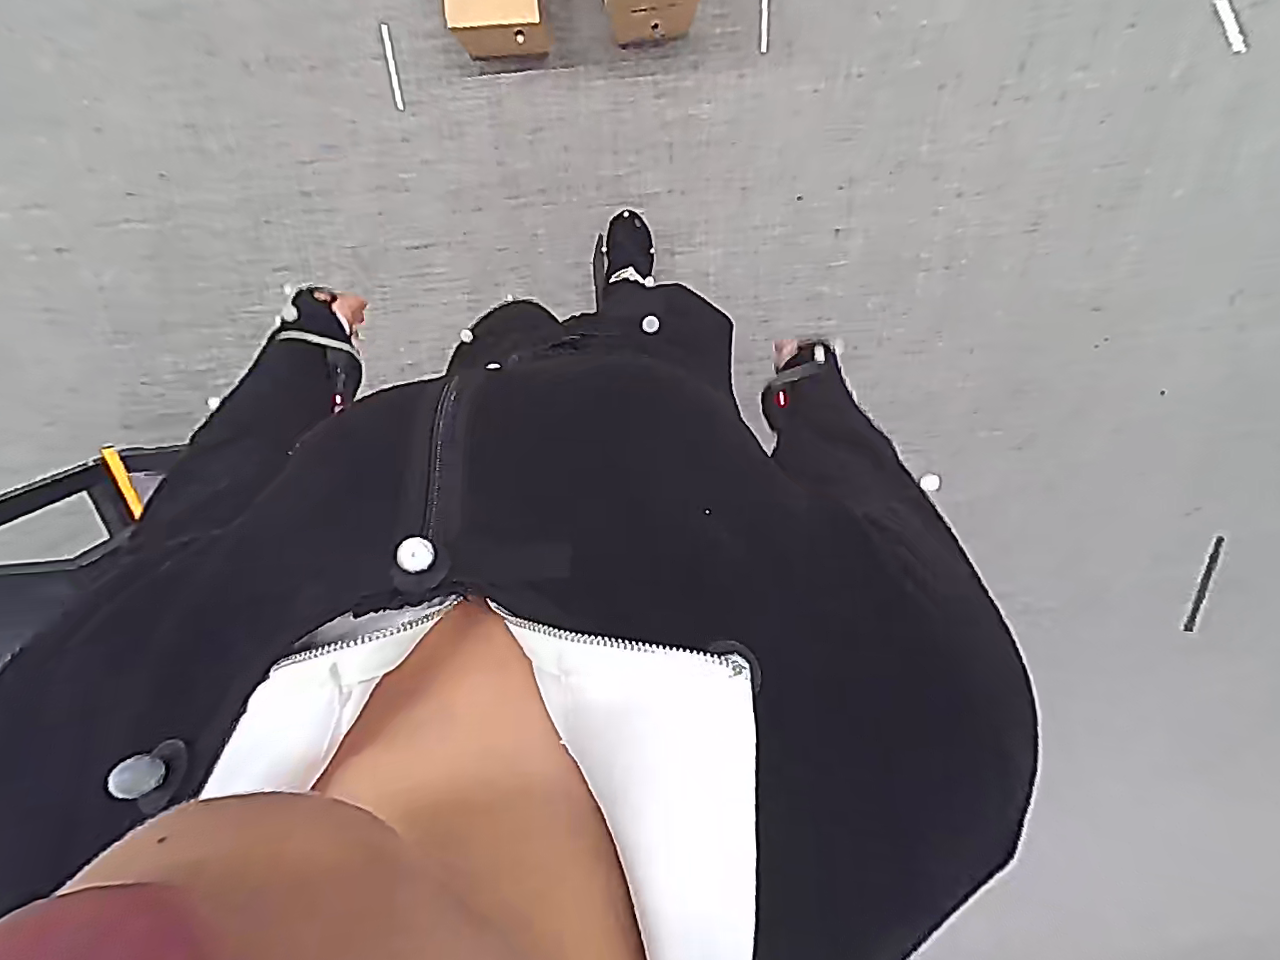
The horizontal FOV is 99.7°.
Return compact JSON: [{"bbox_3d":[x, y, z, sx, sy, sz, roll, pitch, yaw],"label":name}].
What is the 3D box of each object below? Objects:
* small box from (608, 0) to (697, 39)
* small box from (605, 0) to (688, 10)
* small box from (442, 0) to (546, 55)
[{"bbox_3d":[0.016,-0.981,1.039,0.168,0.176,0.179,-7,114,1],"label":"small box"},{"bbox_3d":[0.015,-0.913,0.887,0.179,0.176,0.168,-7,113,0],"label":"small box"},{"bbox_3d":[-0.280,-0.946,1.040,0.179,0.176,0.168,-3,113,0],"label":"small box"}]
